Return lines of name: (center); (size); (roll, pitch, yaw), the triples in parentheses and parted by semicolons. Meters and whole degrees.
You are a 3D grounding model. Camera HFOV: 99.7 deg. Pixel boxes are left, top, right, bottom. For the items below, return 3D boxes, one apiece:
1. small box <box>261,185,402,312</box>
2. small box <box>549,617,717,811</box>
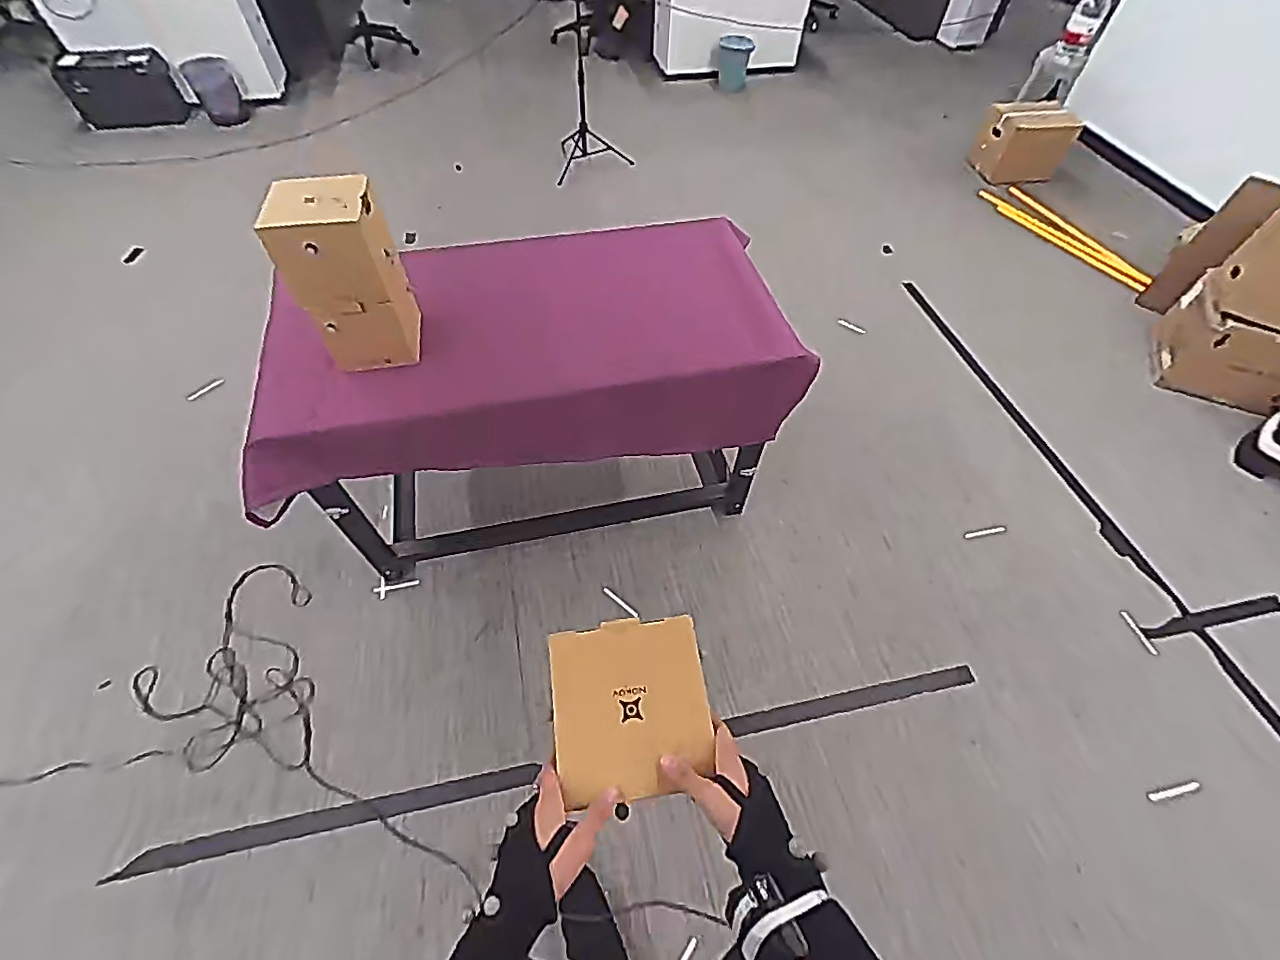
small box: (-0.587, -0.447, 1.055); (0.179, 0.176, 0.168); (-7, 55, -7)
small box: (-0.013, 0.282, 0.643); (0.168, 0.176, 0.179); (-6, 57, -5)
